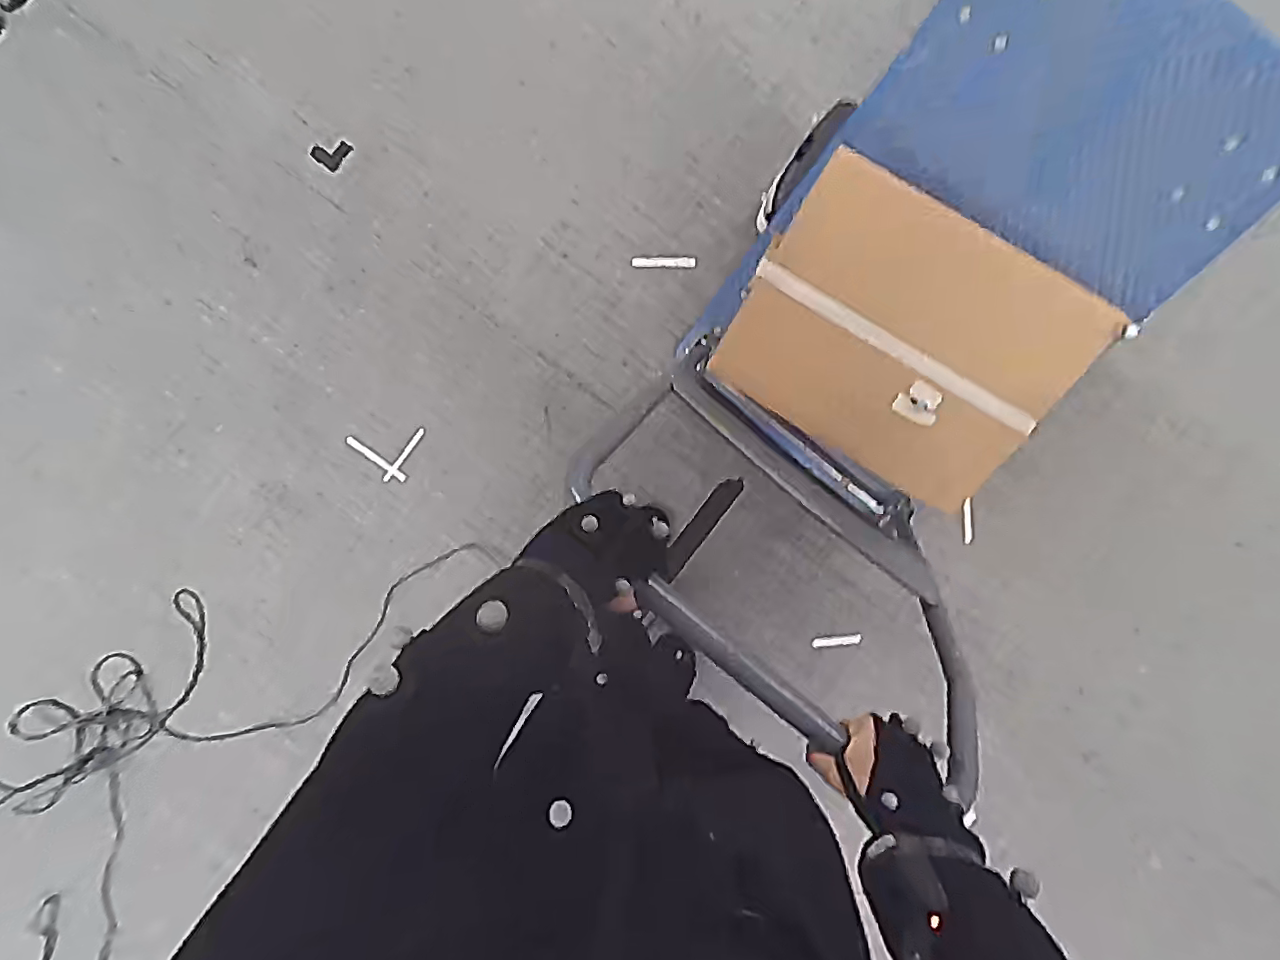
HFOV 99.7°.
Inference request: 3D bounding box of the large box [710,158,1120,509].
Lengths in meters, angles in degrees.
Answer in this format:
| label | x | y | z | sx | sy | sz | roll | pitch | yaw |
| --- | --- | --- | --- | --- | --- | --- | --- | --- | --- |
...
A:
| label | x | y | z | sx | sy | sz | roll | pitch | yaw |
| --- | --- | --- | --- | --- | --- | --- | --- | --- | --- |
| large box | 0.369 | -0.225 | 0.846 | 0.408 | 0.320 | 0.320 | 31 | 115 | 1 |
